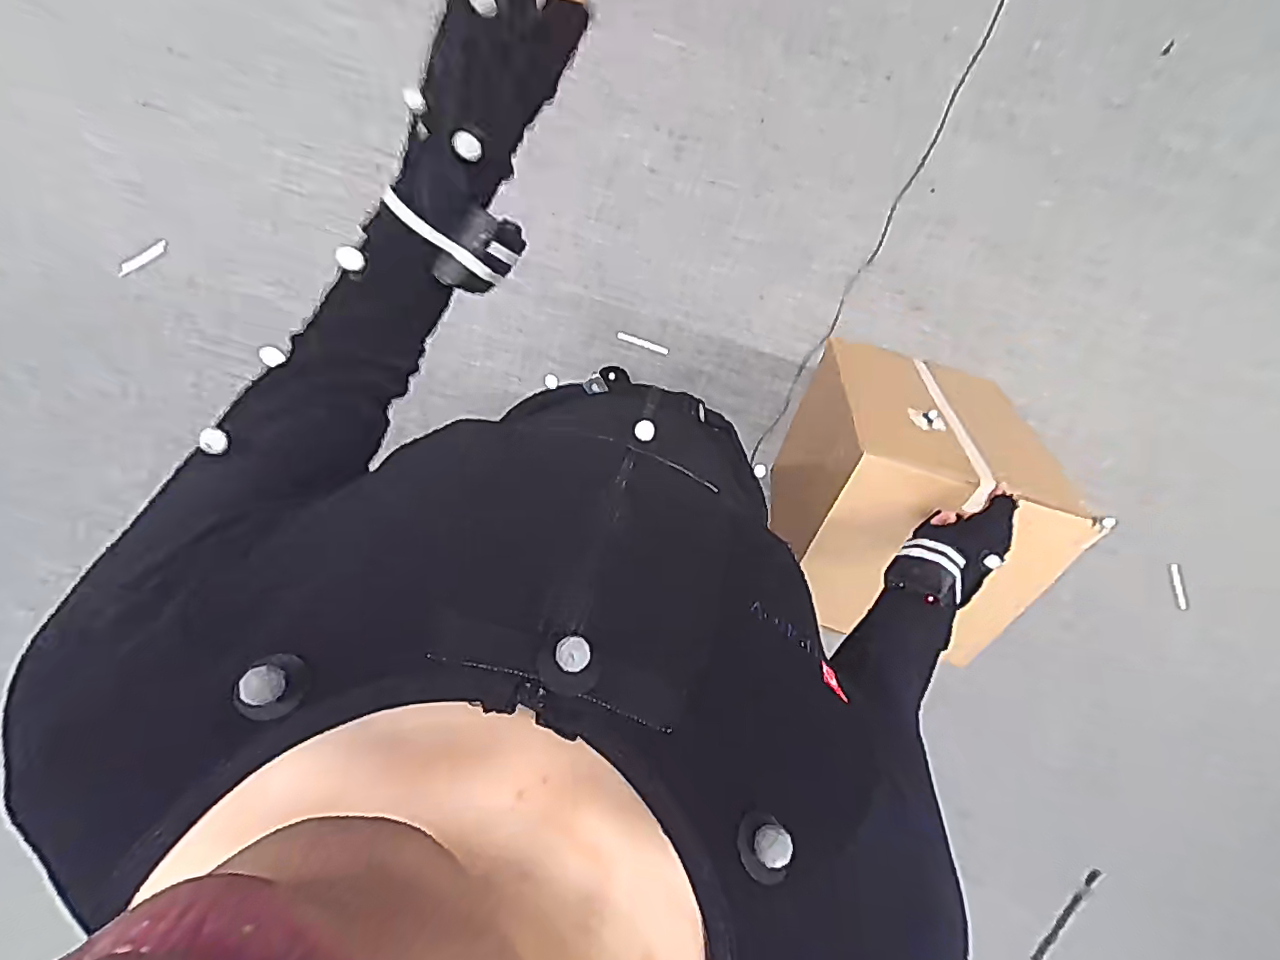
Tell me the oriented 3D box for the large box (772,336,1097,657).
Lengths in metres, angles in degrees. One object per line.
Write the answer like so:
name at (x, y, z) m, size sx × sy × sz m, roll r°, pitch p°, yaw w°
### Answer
large box at (0.425, 0.011, 0.915) m, size 0.320 × 0.408 × 0.320 m, roll 17°, pitch 129°, yaw 2°
